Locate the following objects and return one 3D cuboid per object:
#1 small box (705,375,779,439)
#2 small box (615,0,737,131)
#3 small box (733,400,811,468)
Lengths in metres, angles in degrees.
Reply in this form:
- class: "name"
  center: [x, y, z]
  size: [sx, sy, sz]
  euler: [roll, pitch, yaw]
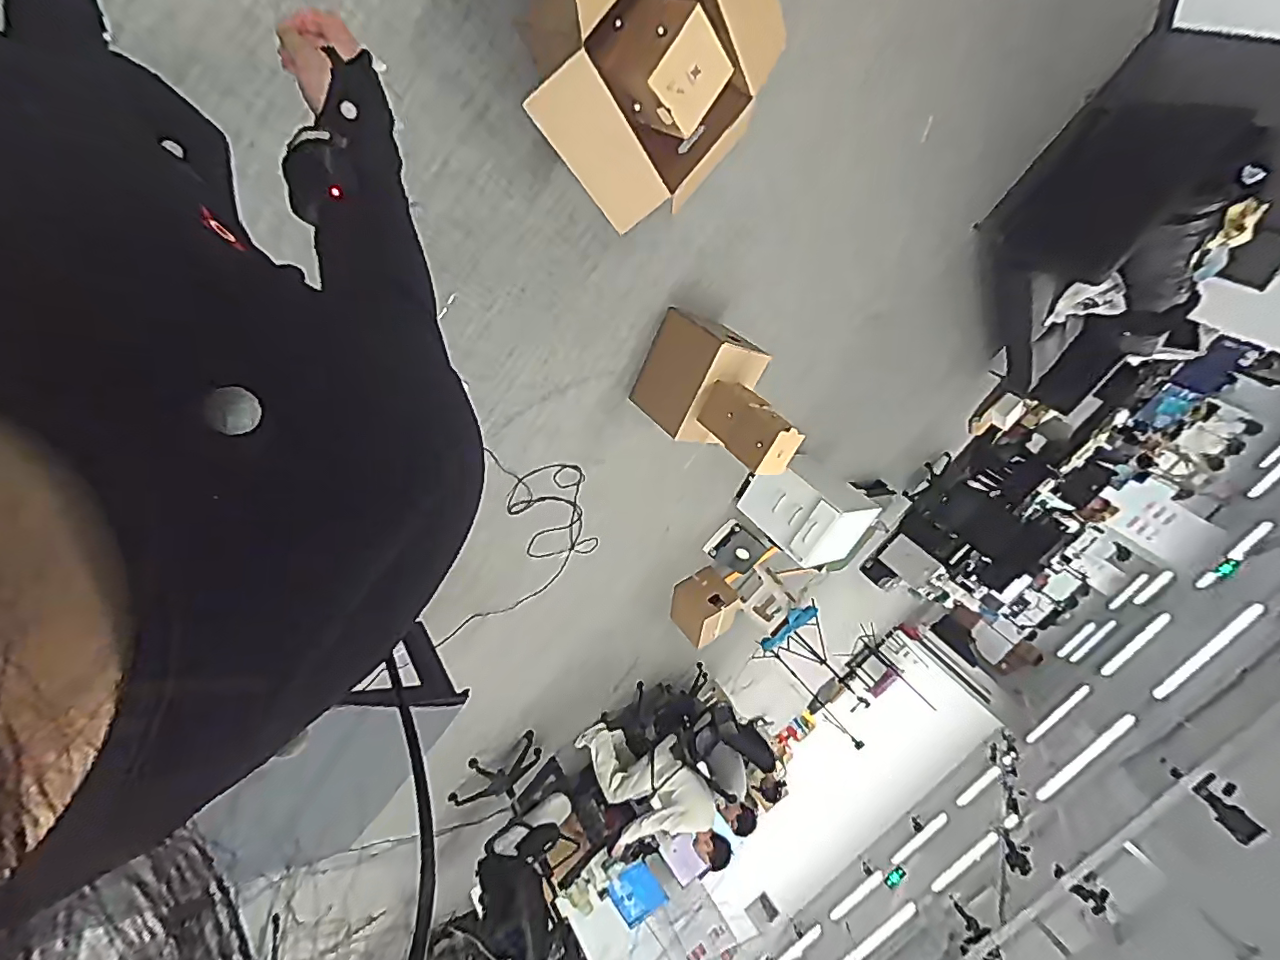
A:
- class: "small box"
  center: [0.368, -0.267, 1.988]
  size: [0.168, 0.176, 0.179]
  euler: [0, 127, -44]
- class: "small box"
  center: [0.075, -0.926, 1.197]
  size: [0.179, 0.176, 0.168]
  euler: [-53, 142, 12]
- class: "small box"
  center: [0.454, -0.160, 1.900]
  size: [0.168, 0.176, 0.179]
  euler: [0, 126, -44]
